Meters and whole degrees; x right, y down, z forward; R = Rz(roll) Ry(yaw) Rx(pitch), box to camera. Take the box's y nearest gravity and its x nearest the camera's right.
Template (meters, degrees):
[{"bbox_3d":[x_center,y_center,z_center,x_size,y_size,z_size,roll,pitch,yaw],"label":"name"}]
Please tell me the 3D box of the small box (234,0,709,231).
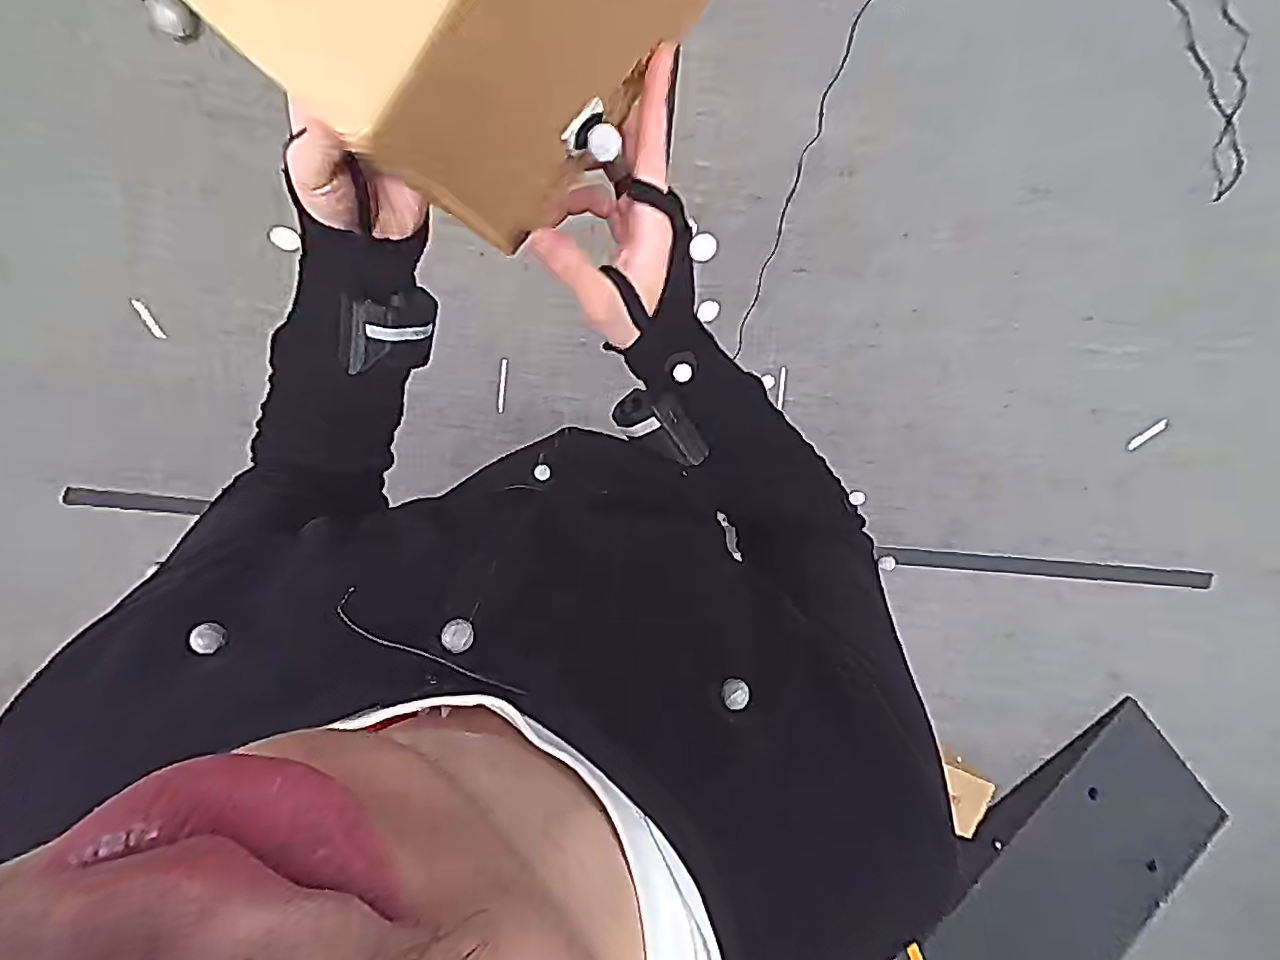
[{"bbox_3d":[-0.079,-0.229,0.211,0.179,0.176,0.168,39,102,-7],"label":"small box"}]
